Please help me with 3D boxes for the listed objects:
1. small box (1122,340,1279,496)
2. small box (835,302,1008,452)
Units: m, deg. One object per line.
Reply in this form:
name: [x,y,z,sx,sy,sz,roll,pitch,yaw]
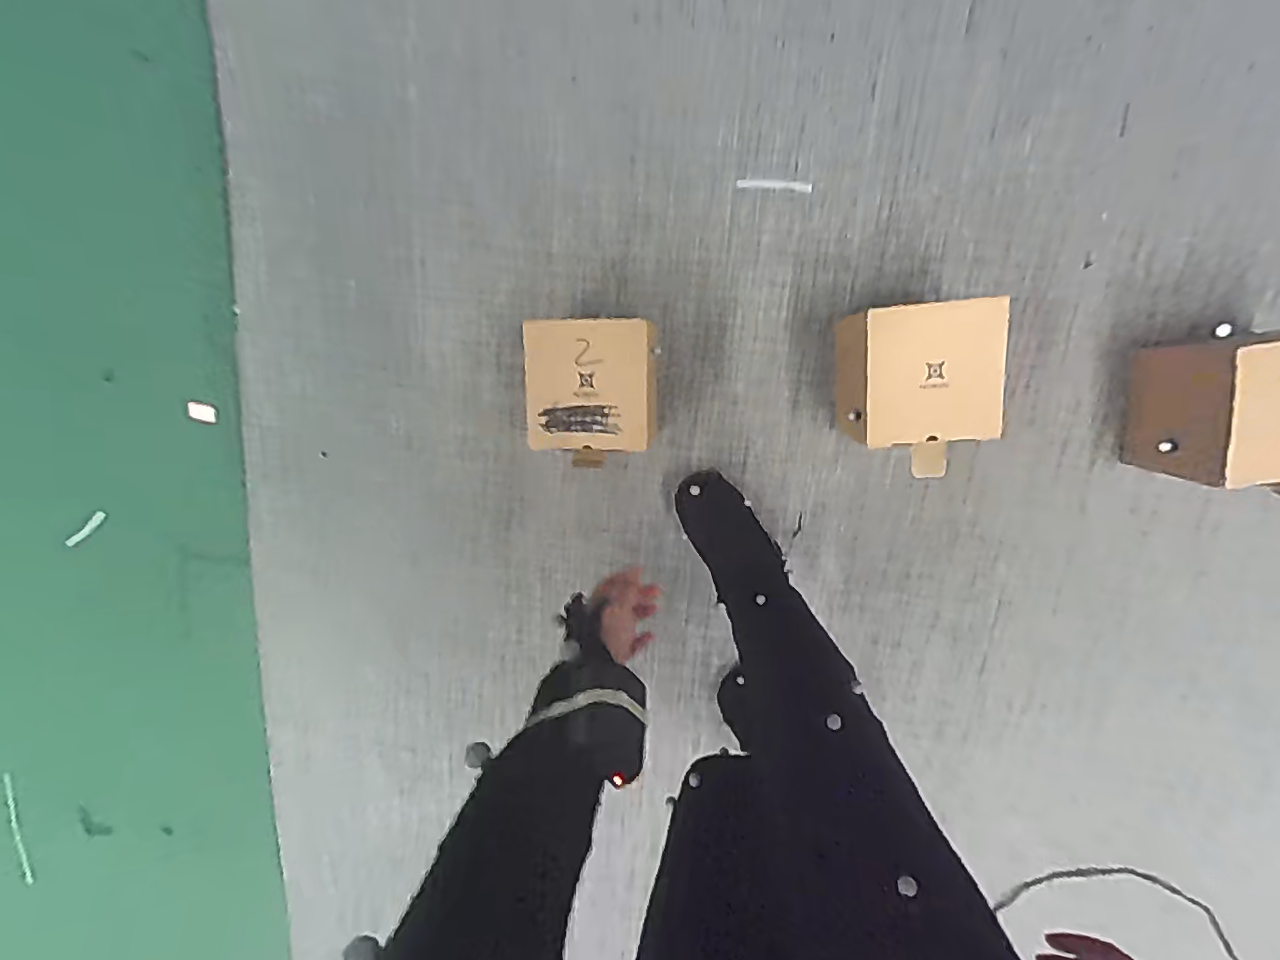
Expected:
small box: [0.792,-0.090,0.719,0.168,0.176,0.179,-7,101,7]
small box: [0.375,-0.141,0.752,0.168,0.176,0.179,-4,103,7]
